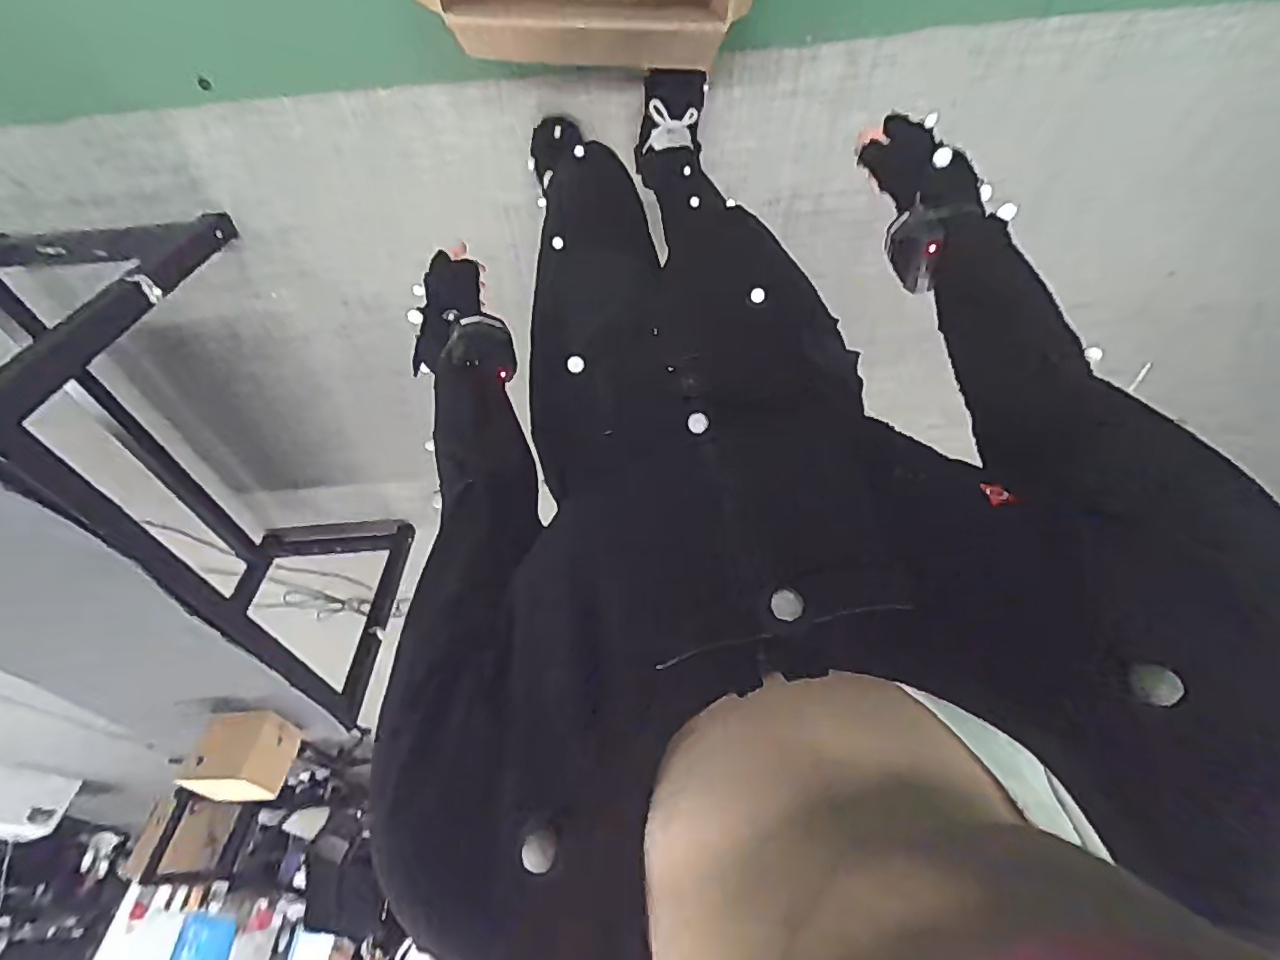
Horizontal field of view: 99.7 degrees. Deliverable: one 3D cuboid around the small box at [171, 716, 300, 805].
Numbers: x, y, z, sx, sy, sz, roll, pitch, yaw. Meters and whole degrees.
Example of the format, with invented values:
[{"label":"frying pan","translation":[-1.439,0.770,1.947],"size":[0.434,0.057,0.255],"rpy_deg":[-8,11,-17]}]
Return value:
[{"label":"small box","translation":[-1.043,0.732,1.412],"size":[0.179,0.176,0.168],"rpy_deg":[-4,135,4]}]
